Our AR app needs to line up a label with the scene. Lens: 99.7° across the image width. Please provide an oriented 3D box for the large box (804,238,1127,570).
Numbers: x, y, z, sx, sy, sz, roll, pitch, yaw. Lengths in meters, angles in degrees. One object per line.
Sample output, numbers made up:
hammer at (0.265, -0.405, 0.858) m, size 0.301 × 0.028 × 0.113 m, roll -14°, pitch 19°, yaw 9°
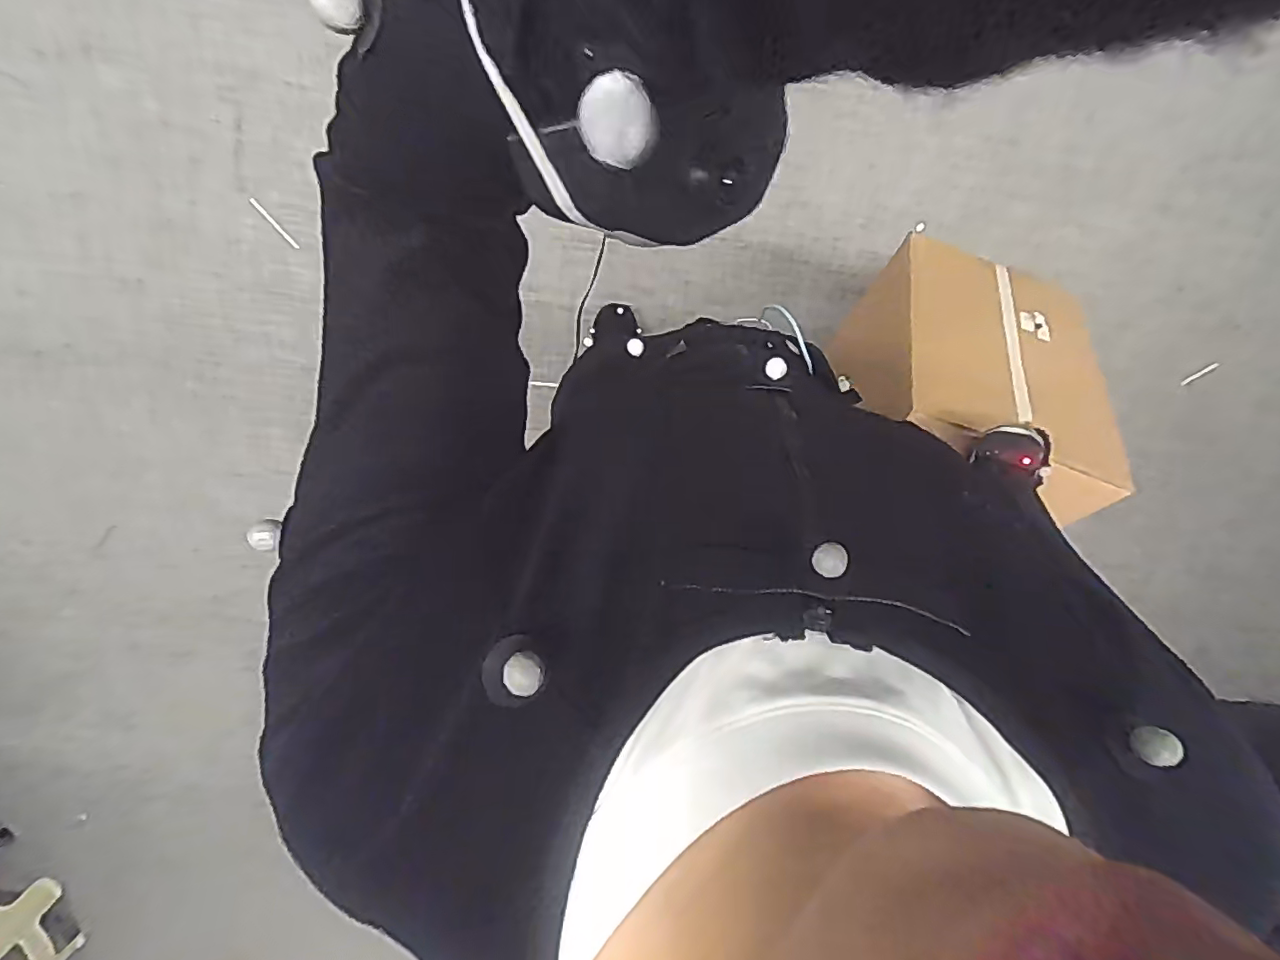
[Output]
large box at (0.500, -0.117, 0.916) m, size 0.320 × 0.408 × 0.320 m, roll 21°, pitch 147°, yaw -4°
